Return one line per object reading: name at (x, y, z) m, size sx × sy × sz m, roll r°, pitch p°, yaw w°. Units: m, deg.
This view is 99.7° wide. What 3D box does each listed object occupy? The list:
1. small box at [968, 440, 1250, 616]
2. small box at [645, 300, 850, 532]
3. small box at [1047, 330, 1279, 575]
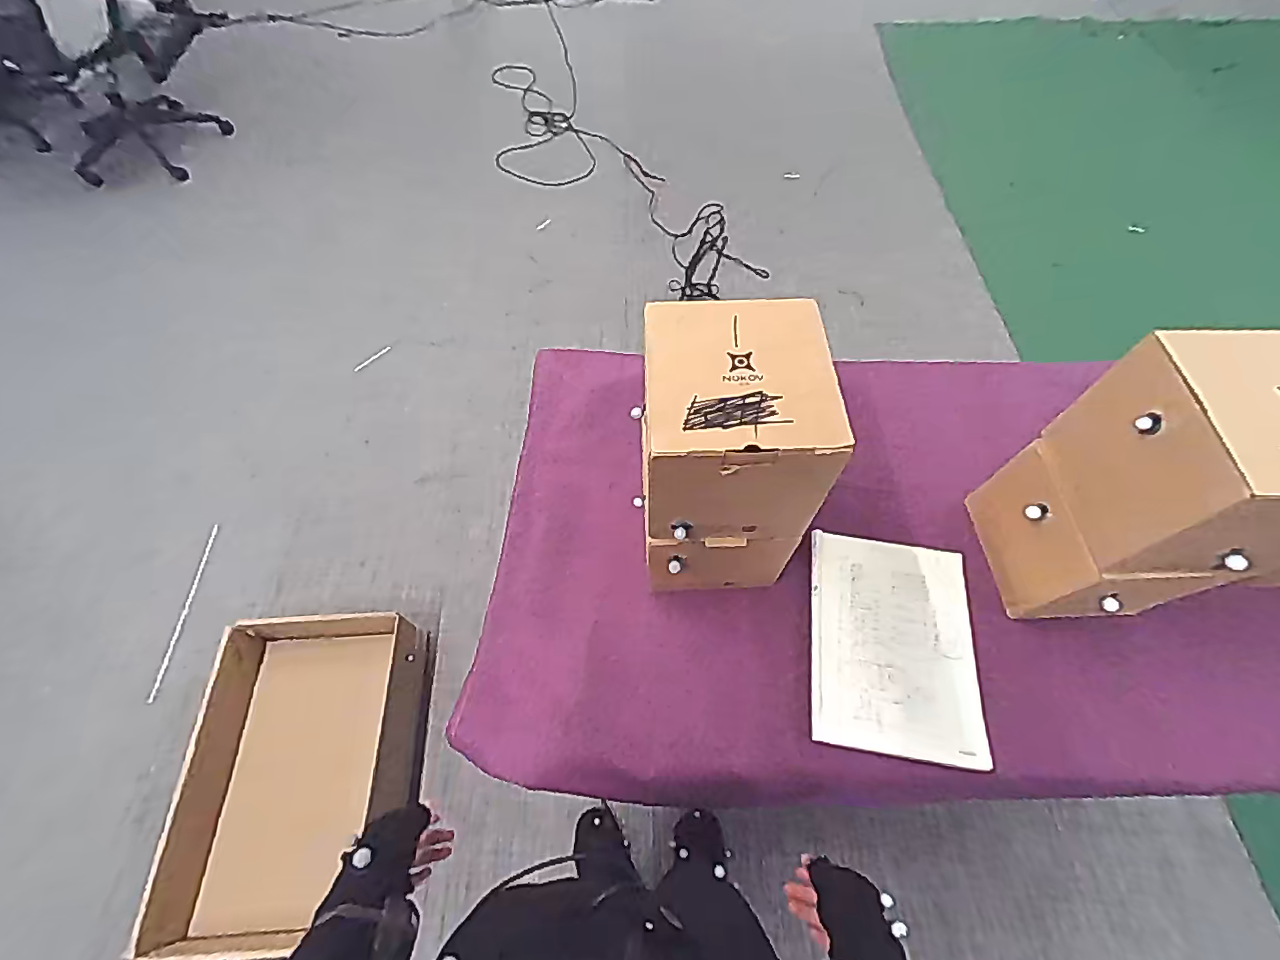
small box at (0.547, 0.064, 0.666) m, size 0.168 × 0.176 × 0.179 m, roll -2°, pitch 60°, yaw 0°
small box at (0.090, -0.055, 0.545) m, size 0.168 × 0.176 × 0.179 m, roll -1°, pitch 59°, yaw 0°
small box at (0.548, -0.021, 0.524) m, size 0.168 × 0.176 × 0.179 m, roll 0°, pitch 61°, yaw 1°
